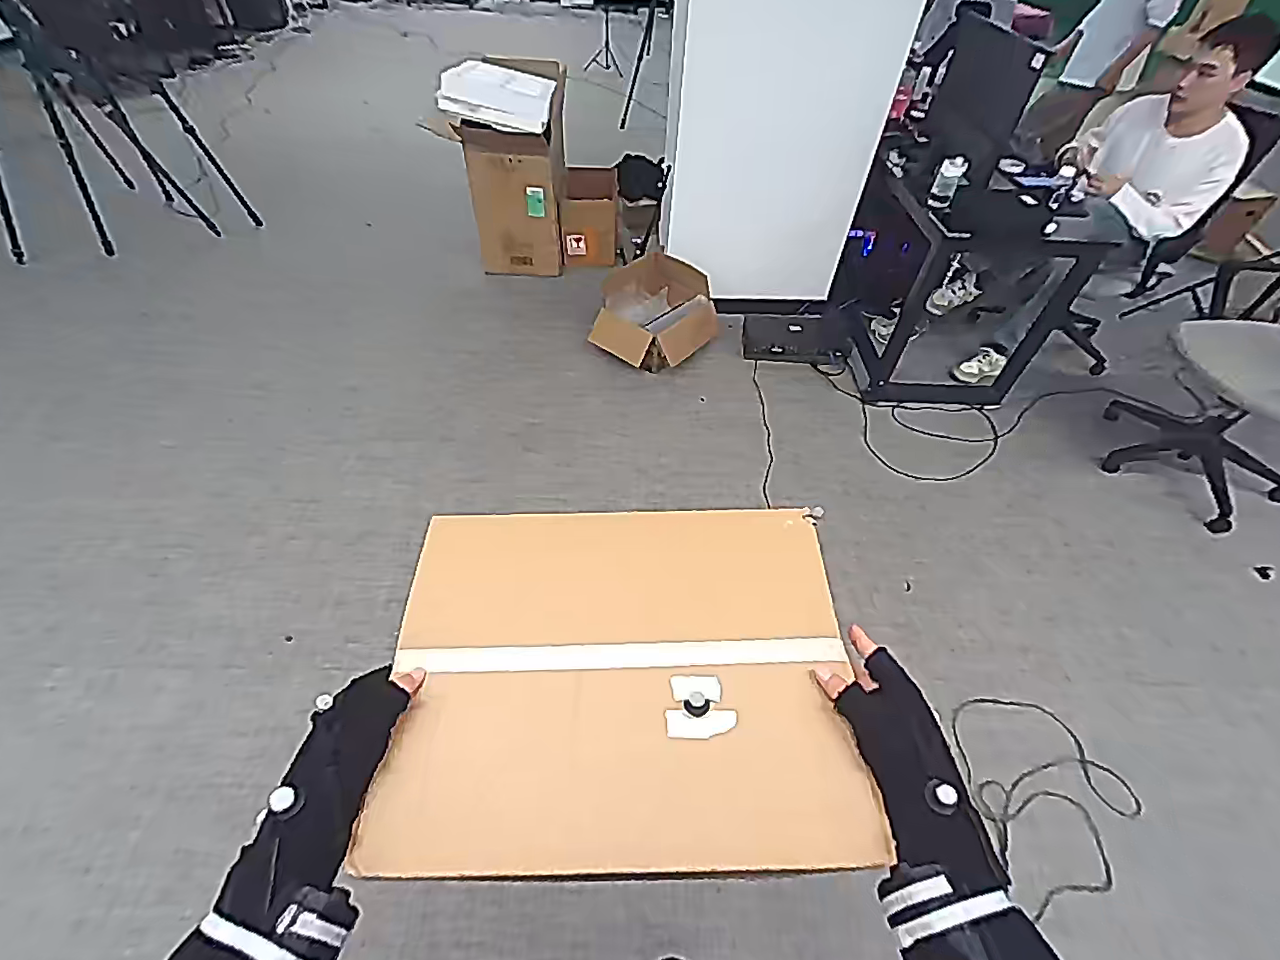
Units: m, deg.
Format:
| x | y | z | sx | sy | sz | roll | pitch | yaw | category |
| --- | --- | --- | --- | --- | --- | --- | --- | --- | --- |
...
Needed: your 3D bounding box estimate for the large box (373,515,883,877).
| x | y | z | sx | sy | sz | roll | pitch | yaw | category |
| --- | --- | --- | --- | --- | --- | --- | --- | --- | --- |
| -0.012 | 0.255 | 0.621 | 0.408 | 0.320 | 0.320 | -1 | 53 | 0 | large box |
